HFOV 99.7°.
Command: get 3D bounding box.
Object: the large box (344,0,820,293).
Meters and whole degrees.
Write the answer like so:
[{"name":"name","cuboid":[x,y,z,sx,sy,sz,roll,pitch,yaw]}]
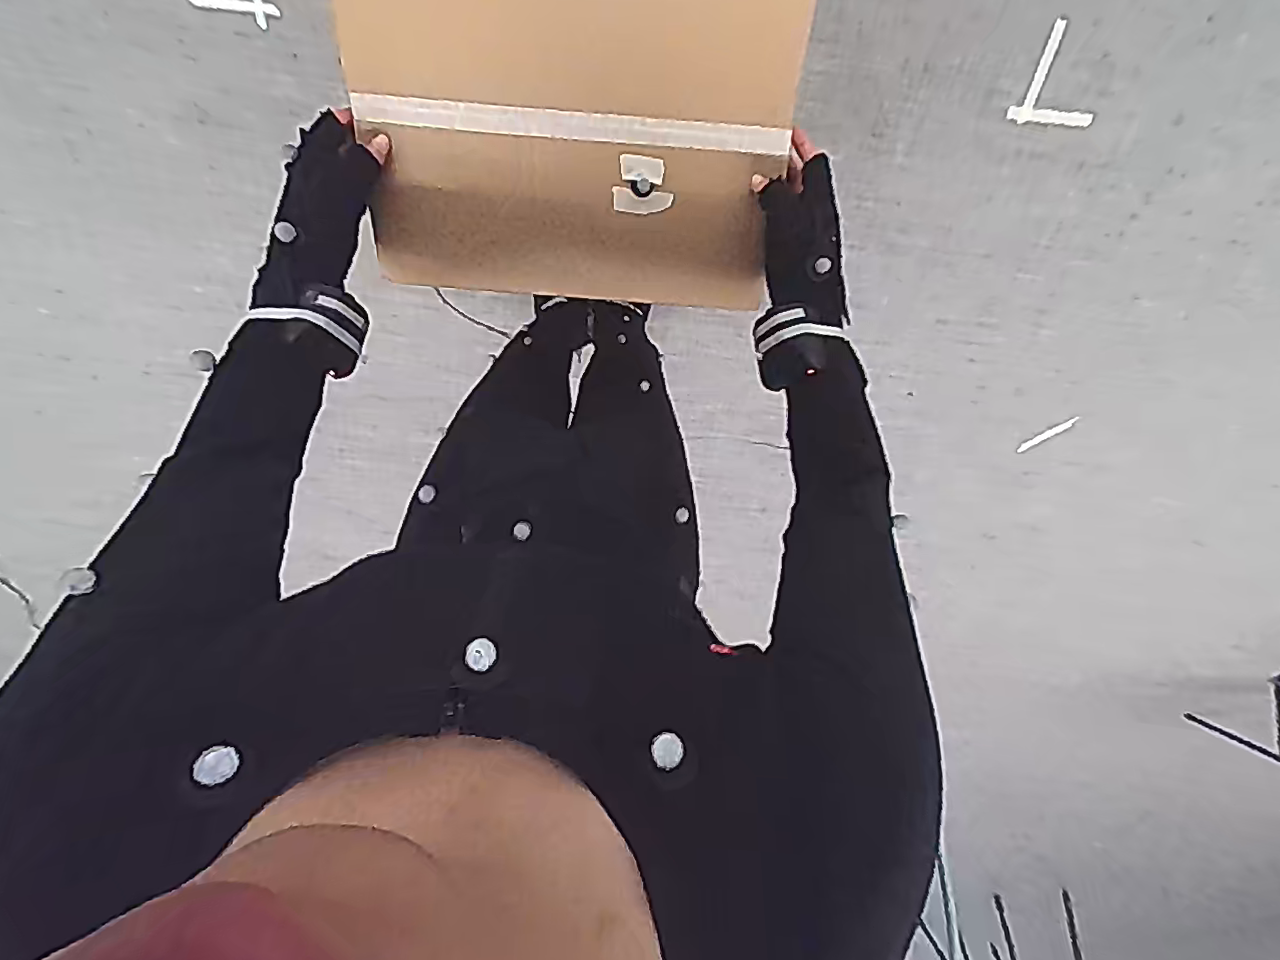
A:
[{"name":"large box","cuboid":[-0.056,-0.414,0.615,0.408,0.320,0.320,3,123,-3]}]
